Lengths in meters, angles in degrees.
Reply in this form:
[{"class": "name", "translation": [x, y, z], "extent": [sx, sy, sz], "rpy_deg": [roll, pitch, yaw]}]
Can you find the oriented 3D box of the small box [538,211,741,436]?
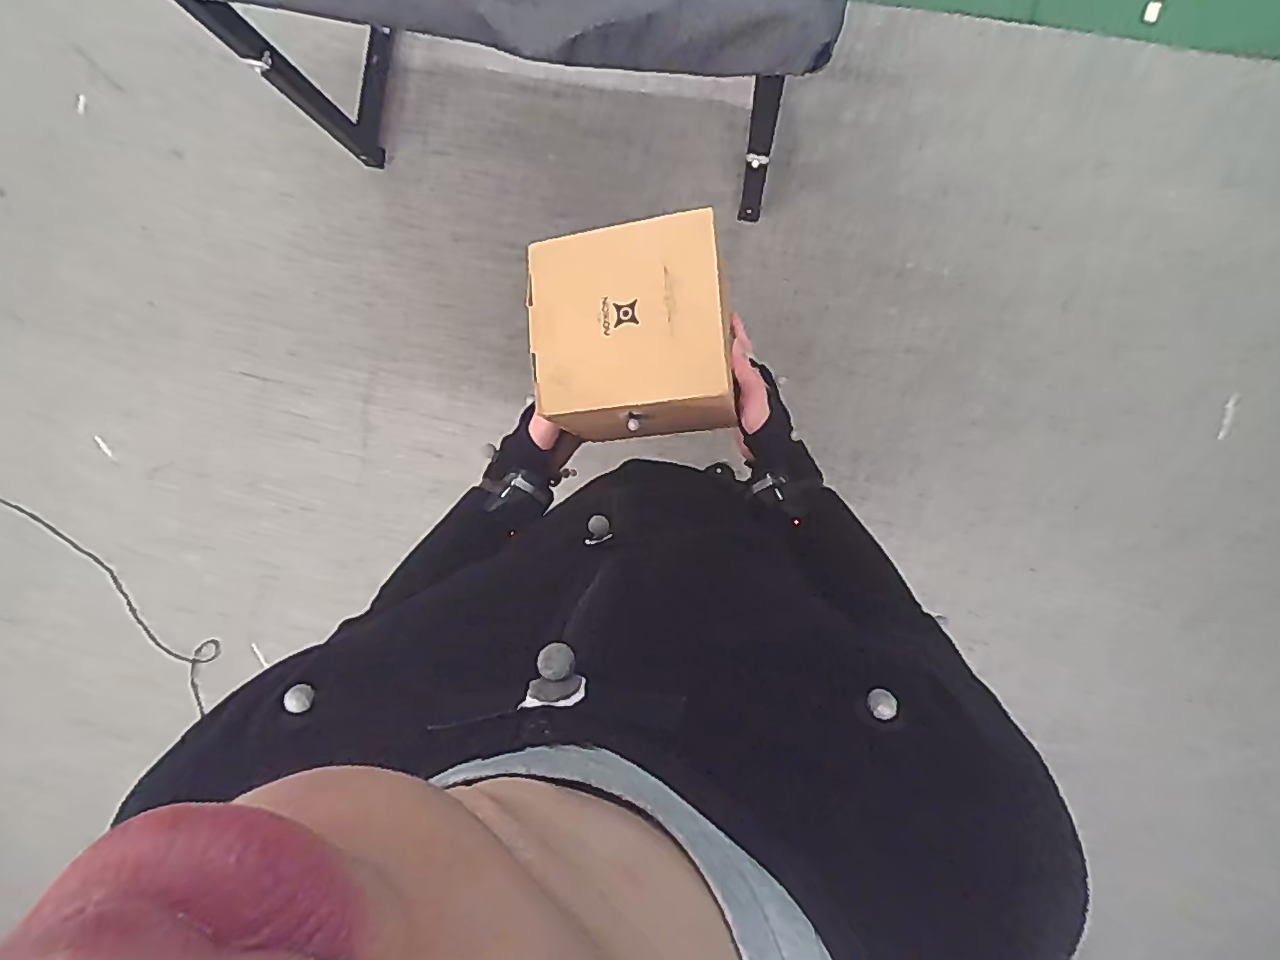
[{"class": "small box", "translation": [0.010, -0.144, 0.567], "extent": [0.179, 0.176, 0.168], "rpy_deg": [-6, 86, 11]}]
